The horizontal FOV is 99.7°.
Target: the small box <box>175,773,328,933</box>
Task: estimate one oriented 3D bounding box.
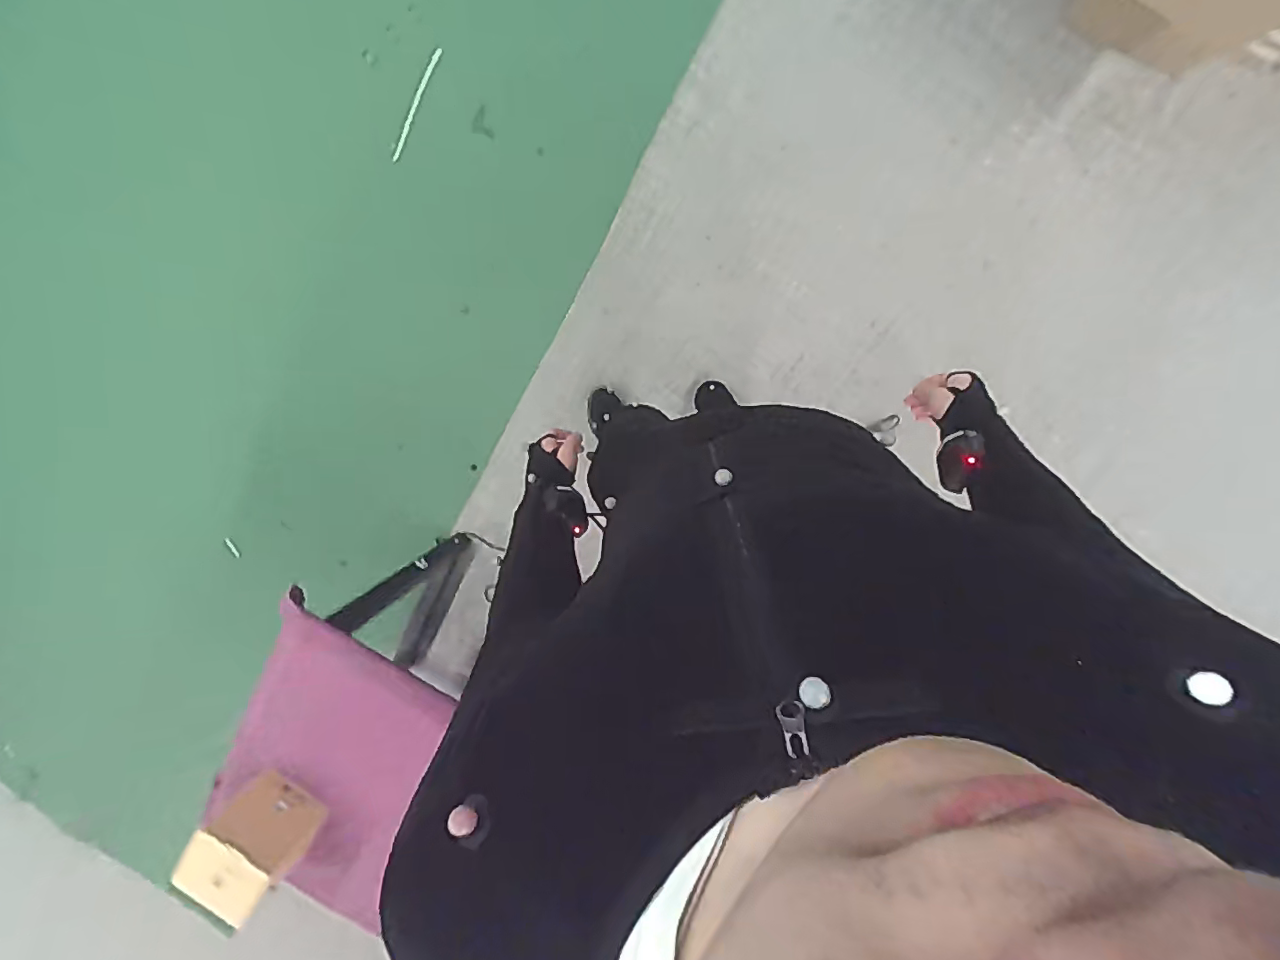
[{"bbox_3d":[-0.790,0.760,1.116,0.168,0.176,0.179,35,105,0],"label":"small box"}]
